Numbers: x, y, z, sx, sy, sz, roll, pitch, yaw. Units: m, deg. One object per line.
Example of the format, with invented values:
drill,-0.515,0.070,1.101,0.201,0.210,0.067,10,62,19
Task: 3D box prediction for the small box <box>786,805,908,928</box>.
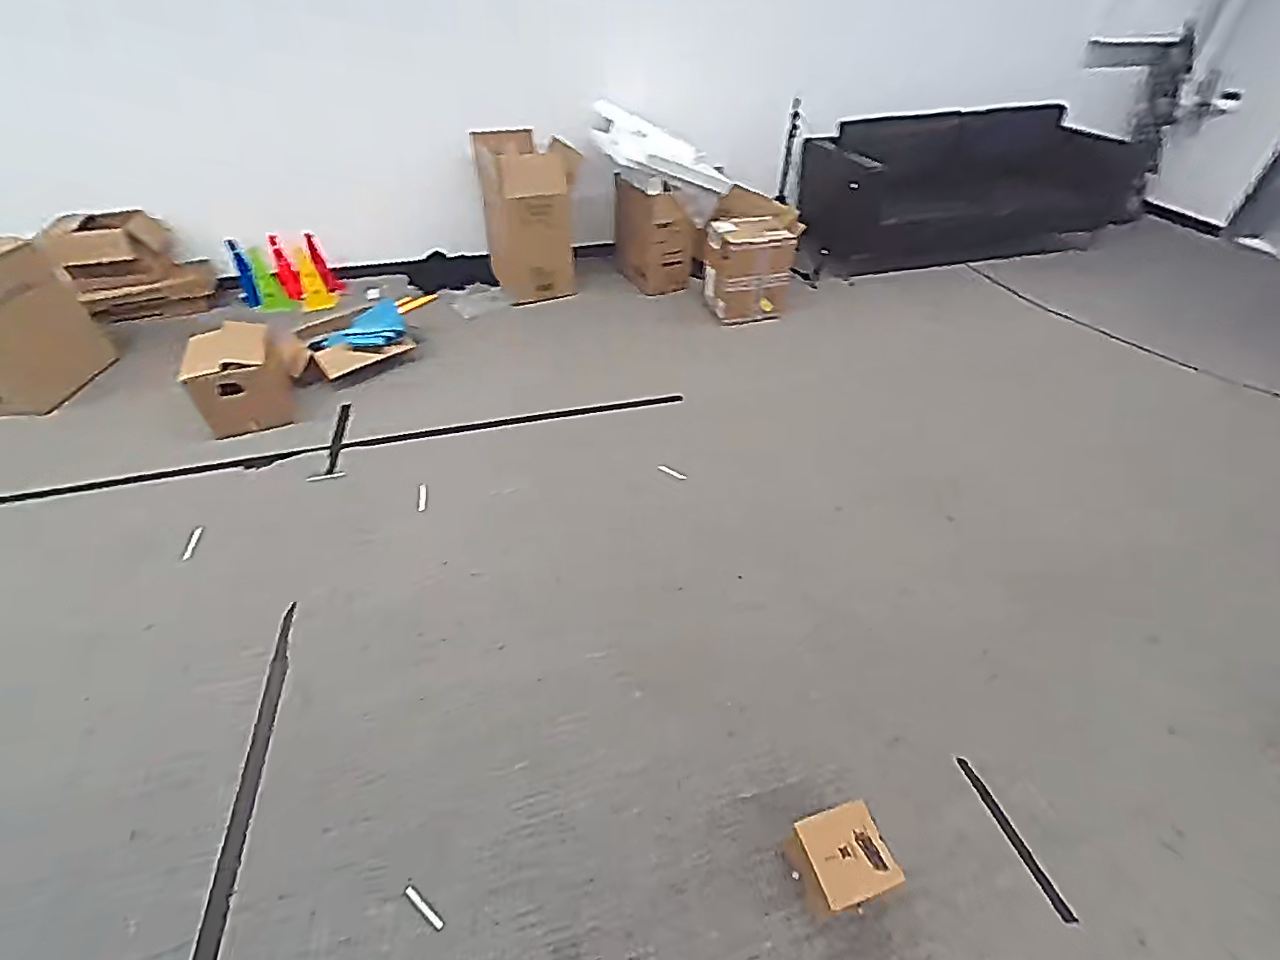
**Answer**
small box,0.448,0.858,1.201,0.179,0.176,0.168,-12,44,-11
